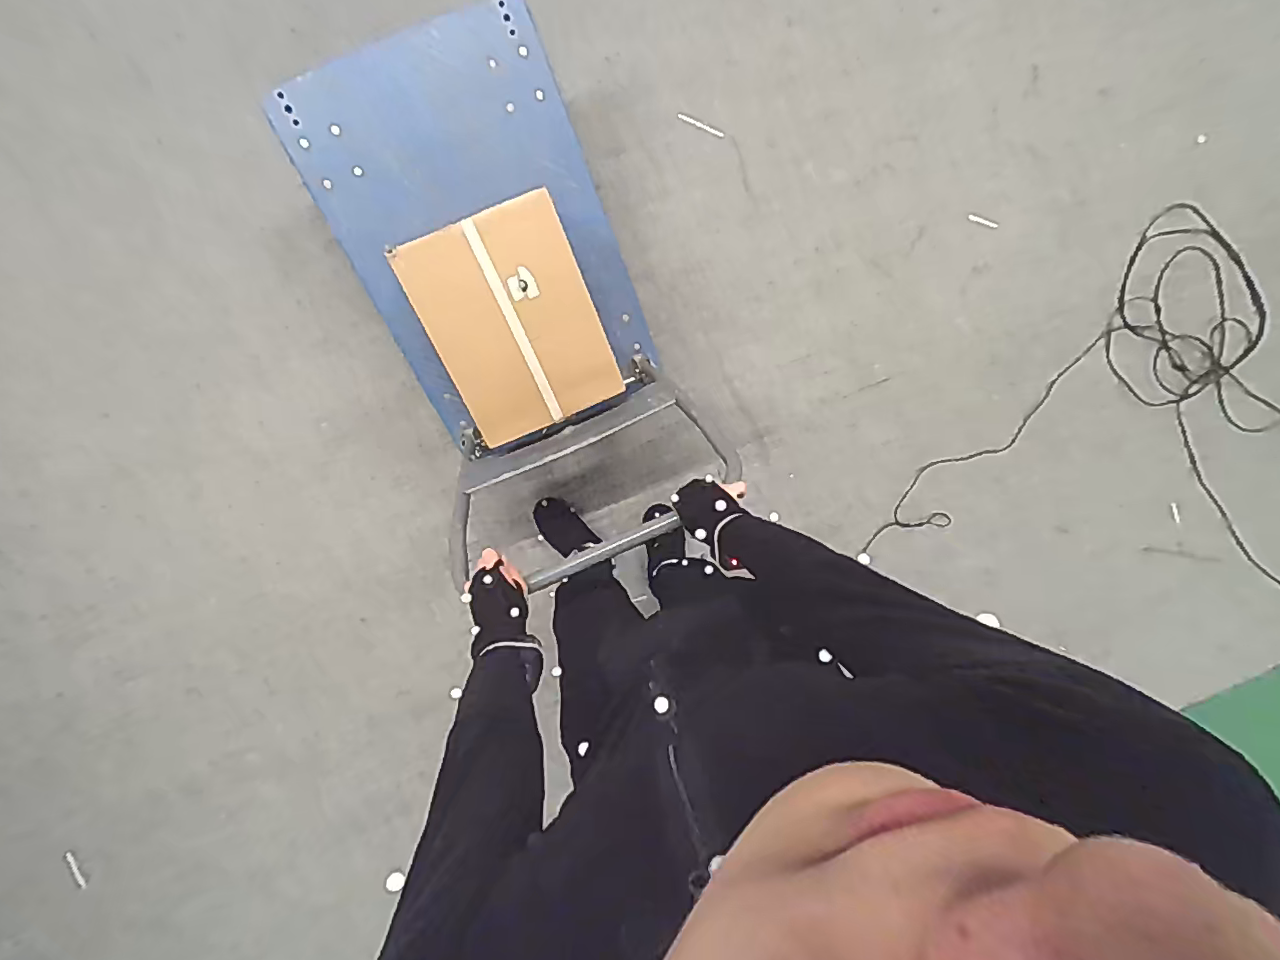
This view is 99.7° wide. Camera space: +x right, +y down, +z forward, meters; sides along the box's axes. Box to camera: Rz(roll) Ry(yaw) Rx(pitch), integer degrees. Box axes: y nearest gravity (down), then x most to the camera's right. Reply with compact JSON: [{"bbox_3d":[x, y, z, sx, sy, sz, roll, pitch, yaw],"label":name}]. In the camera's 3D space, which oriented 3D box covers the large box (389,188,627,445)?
[{"bbox_3d":[-0.261,-0.349,1.177,0.320,0.320,0.408,-24,113,-2],"label":"large box"}]
